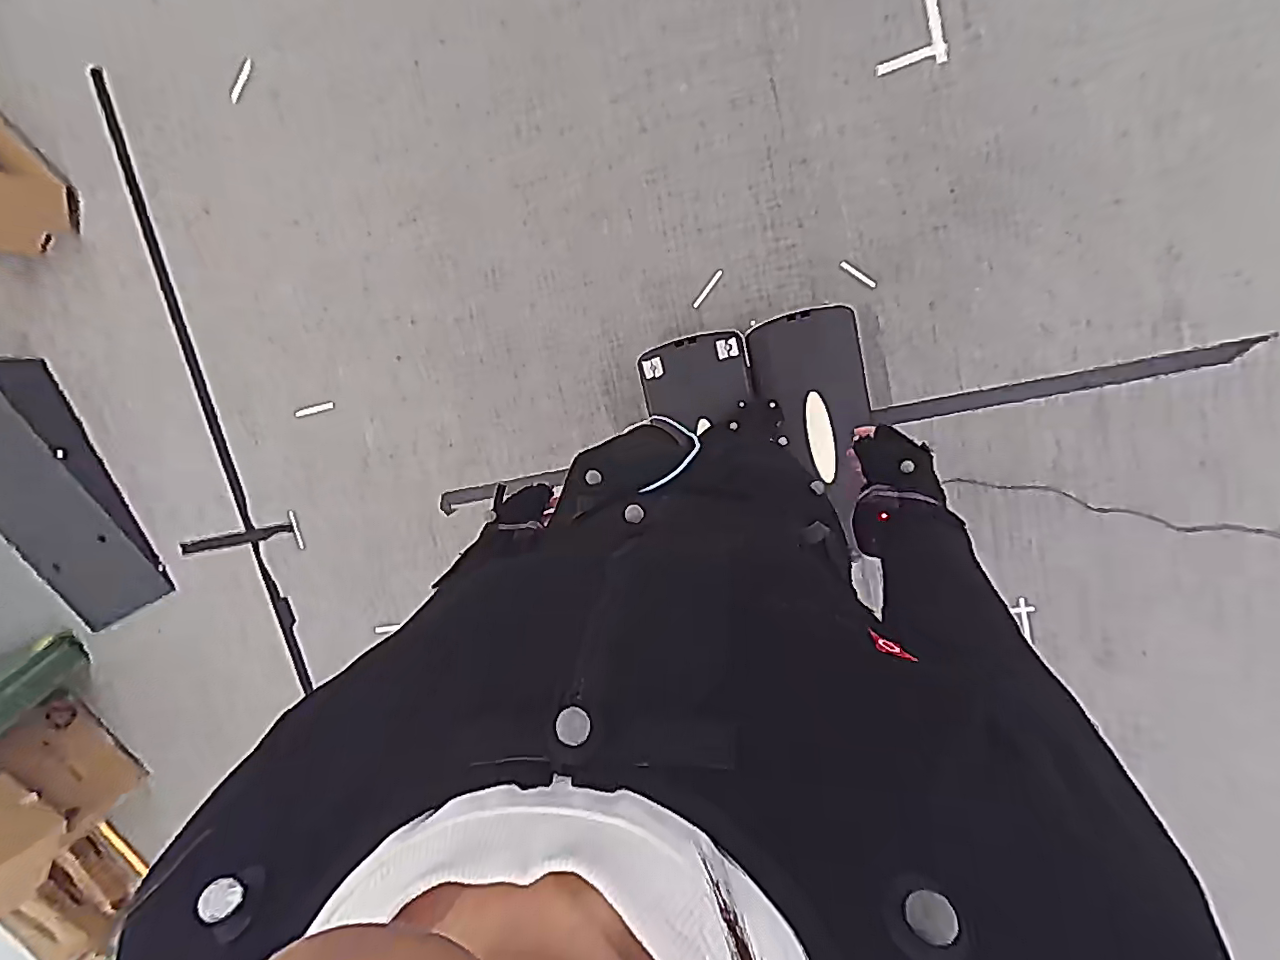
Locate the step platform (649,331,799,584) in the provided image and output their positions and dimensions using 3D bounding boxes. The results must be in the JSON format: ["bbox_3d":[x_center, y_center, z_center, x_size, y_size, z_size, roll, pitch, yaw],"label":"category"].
[{"bbox_3d":[0.236,-0.057,1.500,0.286,0.204,0.684,-13,97,13],"label":"step platform"}]
